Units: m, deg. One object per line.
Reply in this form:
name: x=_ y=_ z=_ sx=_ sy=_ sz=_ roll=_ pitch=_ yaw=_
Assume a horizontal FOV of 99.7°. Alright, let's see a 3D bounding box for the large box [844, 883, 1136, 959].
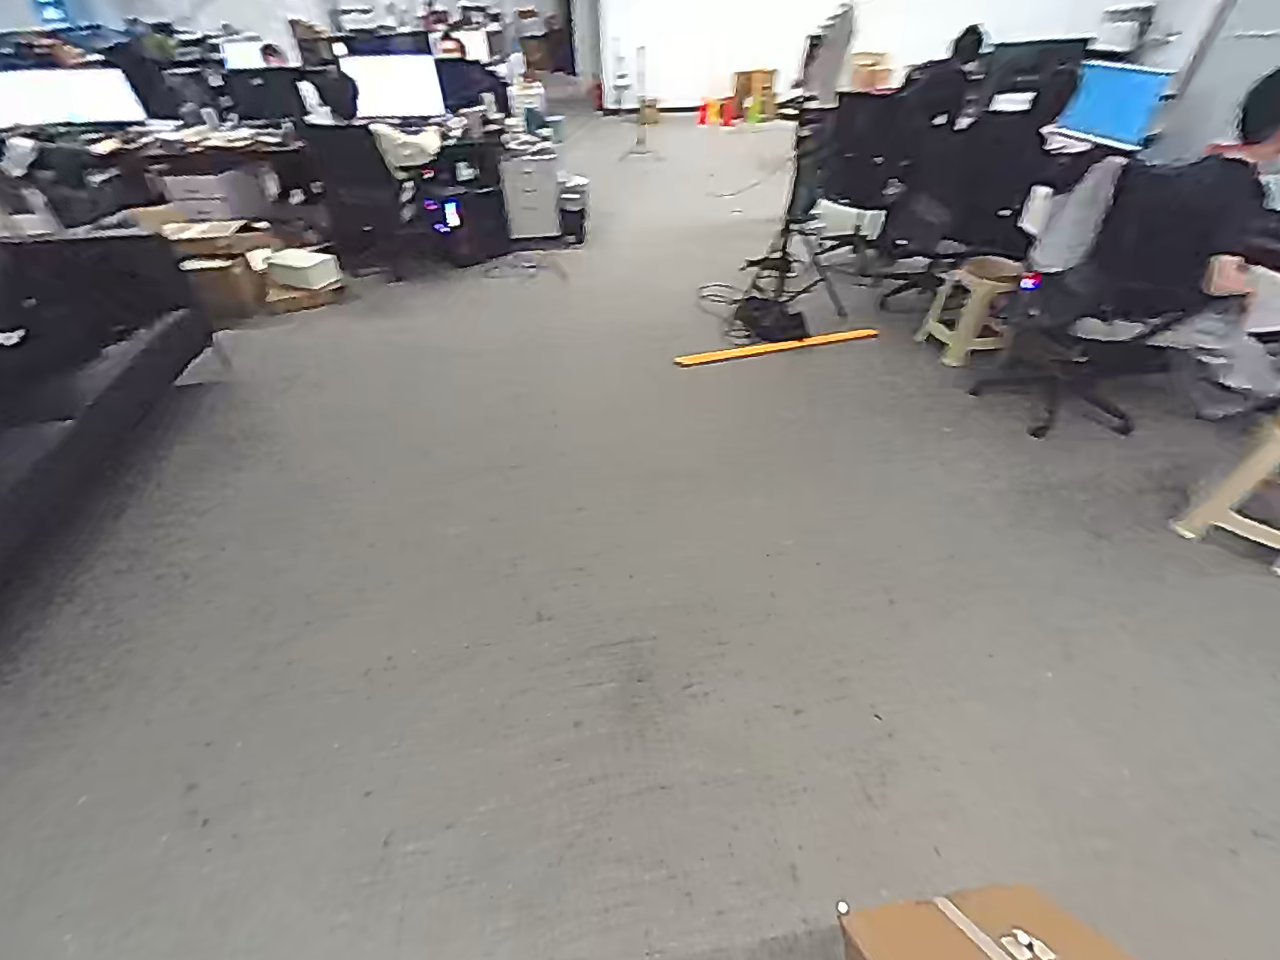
large box: x=0.494 y=0.763 z=0.626 sx=0.320 sy=0.408 sz=0.320 roll=-6 pitch=78 yaw=-3
